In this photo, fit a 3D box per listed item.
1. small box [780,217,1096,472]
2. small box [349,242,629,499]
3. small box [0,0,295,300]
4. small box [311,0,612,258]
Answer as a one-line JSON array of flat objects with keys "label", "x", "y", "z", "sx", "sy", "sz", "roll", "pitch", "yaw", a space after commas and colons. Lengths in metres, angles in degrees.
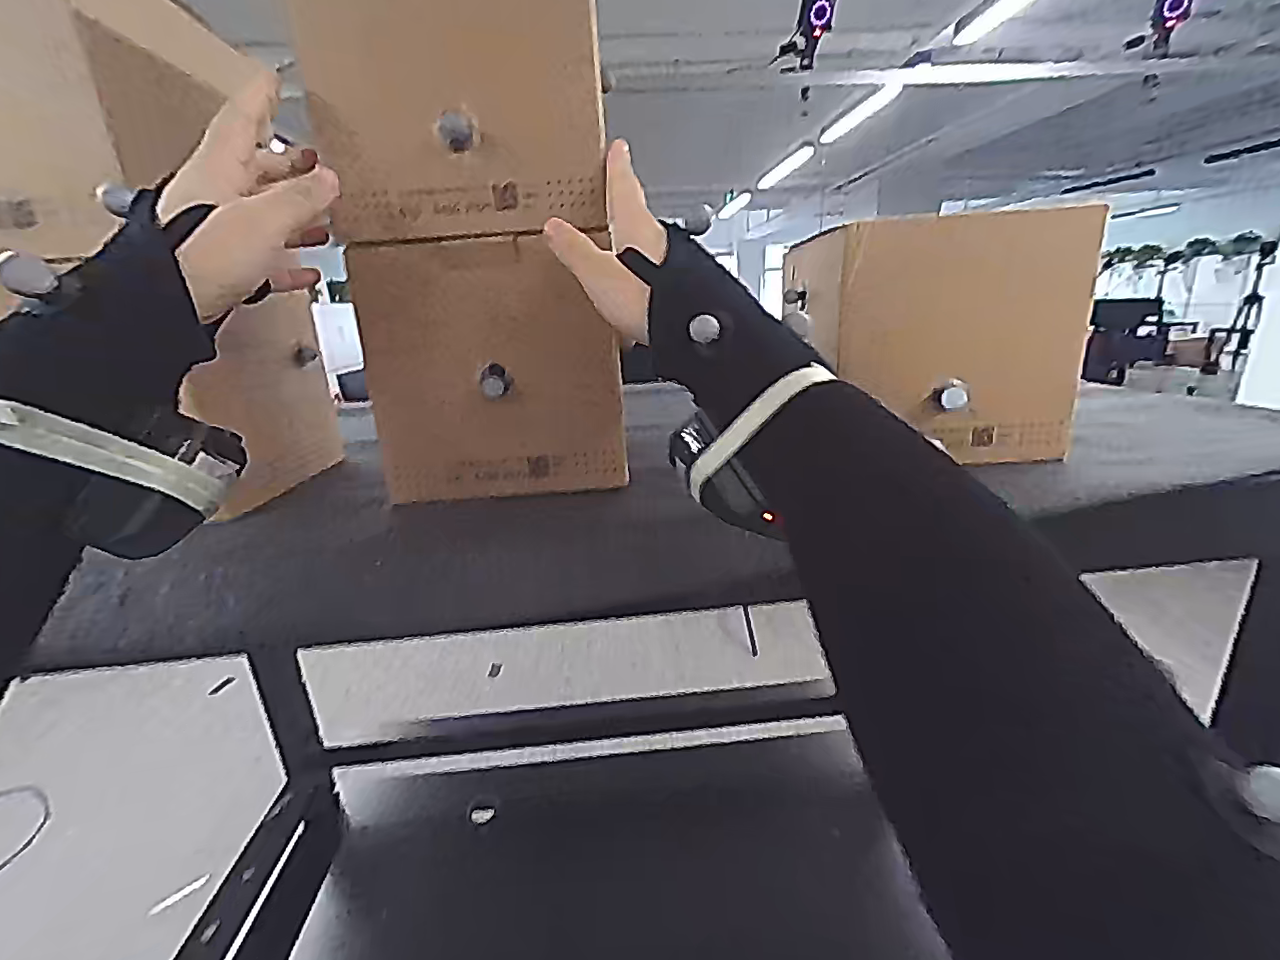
[{"label": "small box", "x": 0.215, "y": -0.108, "z": 0.449, "sx": 0.168, "sy": 0.176, "sz": 0.179, "roll": -3, "pitch": 17, "yaw": 2}, {"label": "small box", "x": -0.098, "y": -0.085, "z": 0.437, "sx": 0.168, "sy": 0.176, "sz": 0.179, "roll": -4, "pitch": 16, "yaw": -2}, {"label": "small box", "x": -0.373, "y": -0.218, "z": 0.374, "sx": 0.168, "sy": 0.176, "sz": 0.179, "roll": -5, "pitch": 17, "yaw": -3}, {"label": "small box", "x": -0.110, "y": -0.244, "z": 0.394, "sx": 0.168, "sy": 0.176, "sz": 0.179, "roll": -5, "pitch": 16, "yaw": -4}]
